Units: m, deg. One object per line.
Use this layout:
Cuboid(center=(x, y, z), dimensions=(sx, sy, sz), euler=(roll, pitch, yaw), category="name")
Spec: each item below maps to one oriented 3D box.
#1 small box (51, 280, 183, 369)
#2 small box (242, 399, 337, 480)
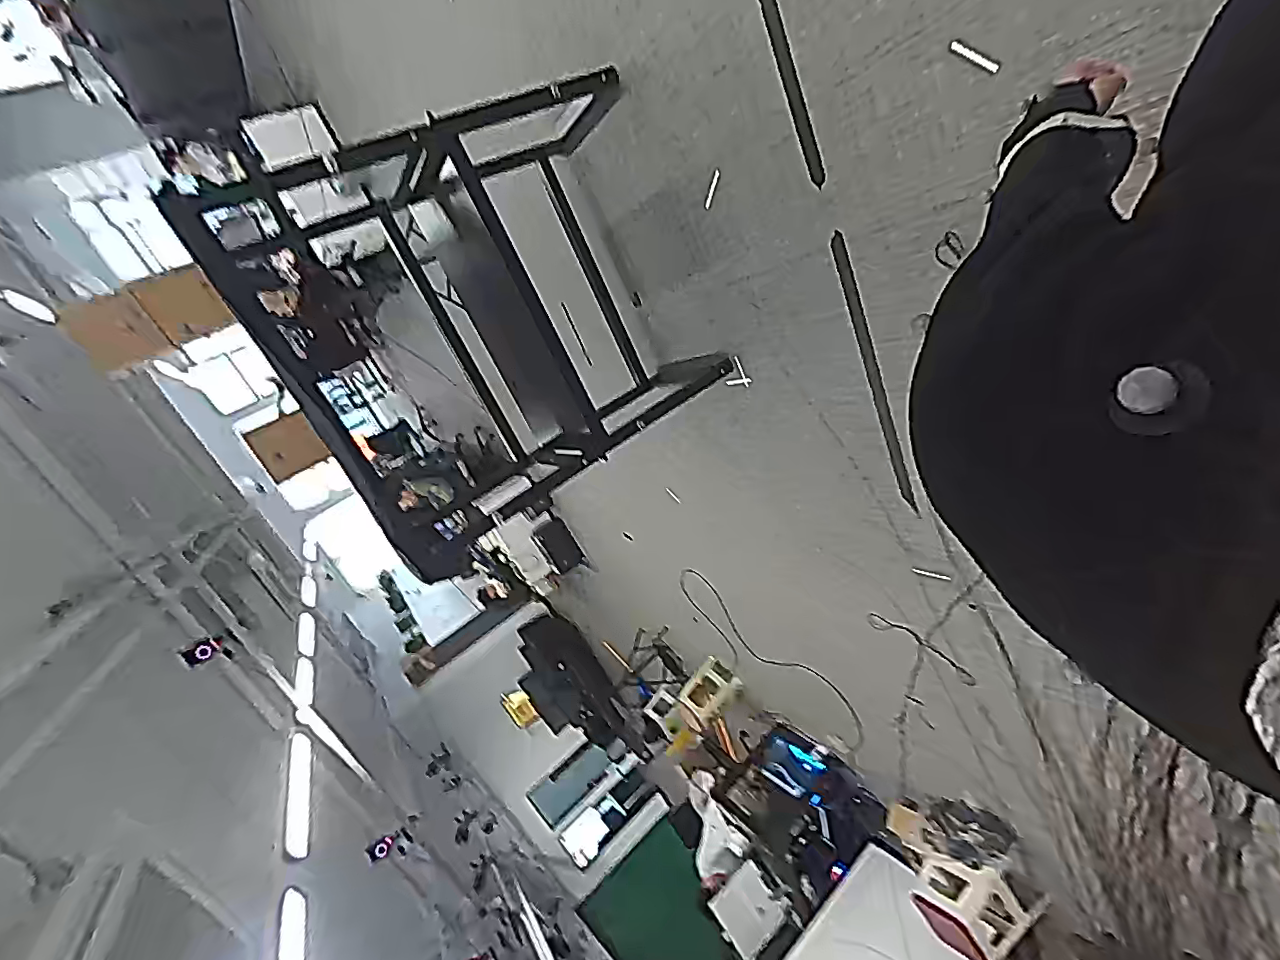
Cuboid(center=(-1.334, -0.399, 1.401), dimensions=(0.179, 0.176, 0.168), euler=(16, 137, 56), category="small box")
Cuboid(center=(-1.026, -0.121, 1.603), dimensions=(0.168, 0.176, 0.179), euler=(7, 127, 62), category="small box")
